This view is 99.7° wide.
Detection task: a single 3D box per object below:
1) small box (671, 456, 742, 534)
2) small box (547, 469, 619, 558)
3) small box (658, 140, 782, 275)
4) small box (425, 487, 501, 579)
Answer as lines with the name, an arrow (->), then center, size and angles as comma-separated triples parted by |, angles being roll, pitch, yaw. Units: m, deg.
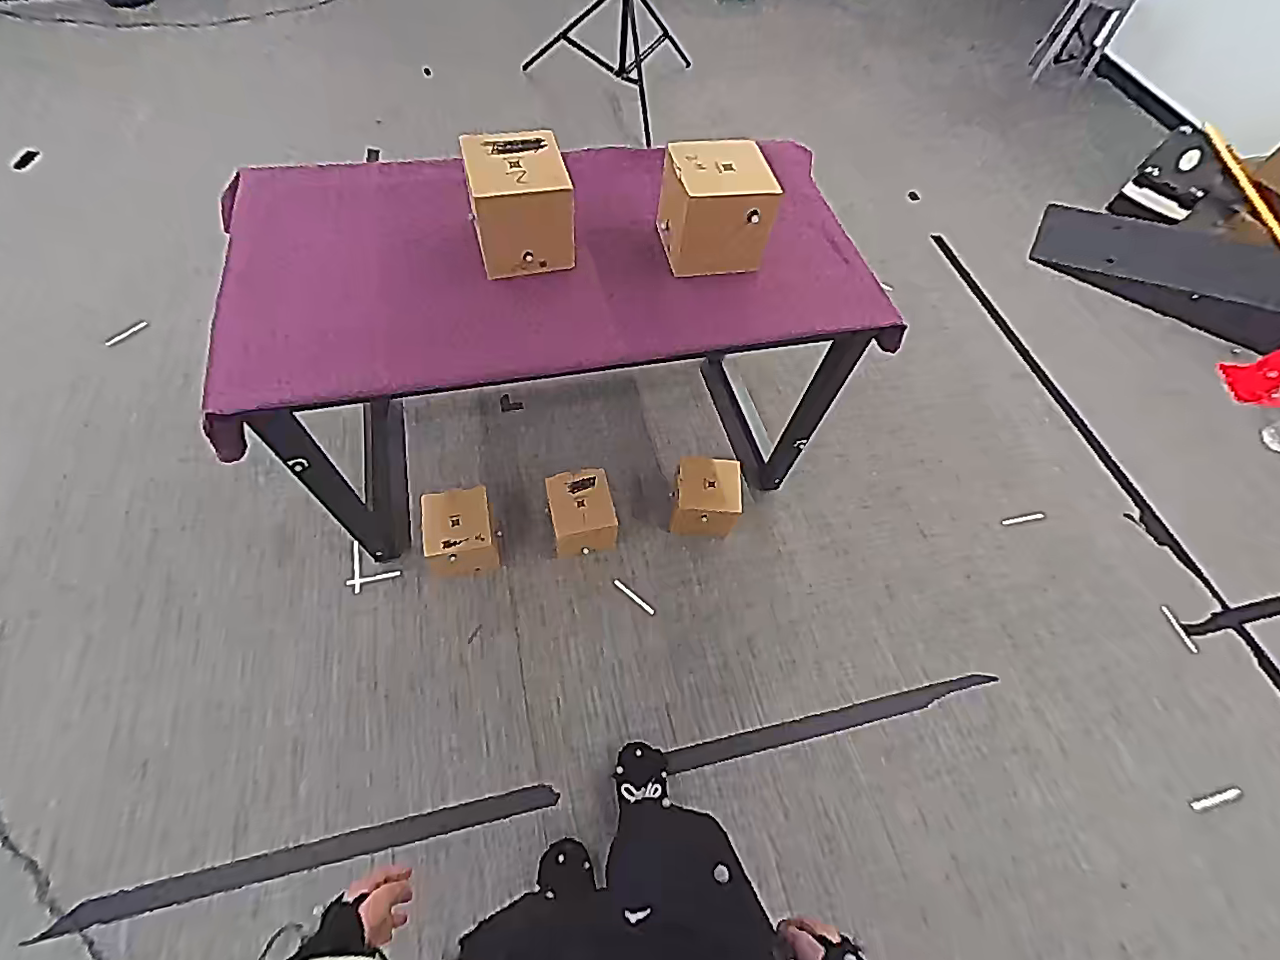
small box -> 0.188, 0.049, 1.559 | 0.179, 0.176, 0.168 | 4, 61, -1
small box -> -0.161, 0.095, 1.497 | 0.168, 0.176, 0.179 | -11, 63, -11
small box -> 0.143, -0.516, 1.031 | 0.179, 0.176, 0.168 | -9, 61, -10
small box -> -0.469, 0.143, 1.442 | 0.168, 0.176, 0.179 | -8, 60, -10
